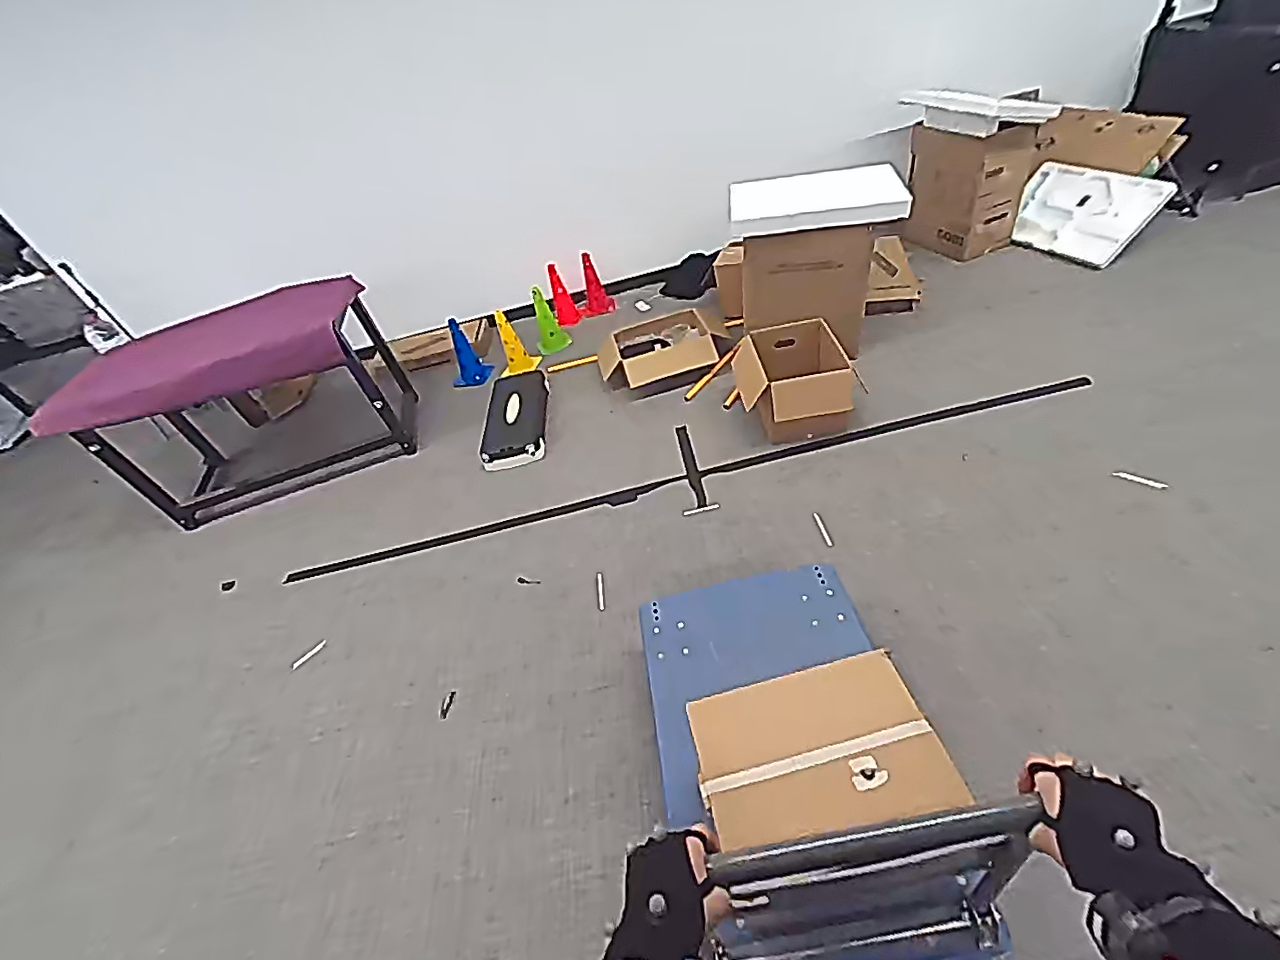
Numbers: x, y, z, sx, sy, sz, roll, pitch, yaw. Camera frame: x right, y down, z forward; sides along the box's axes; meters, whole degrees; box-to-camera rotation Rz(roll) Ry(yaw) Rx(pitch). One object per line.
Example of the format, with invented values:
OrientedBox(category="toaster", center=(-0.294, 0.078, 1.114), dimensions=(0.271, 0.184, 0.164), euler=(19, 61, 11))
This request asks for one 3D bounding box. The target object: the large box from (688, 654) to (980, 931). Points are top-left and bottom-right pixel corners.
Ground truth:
OrientedBox(category="large box", center=(0.336, 0.598, 1.040), dimensions=(0.408, 0.320, 0.320), euler=(-15, 43, -1))
